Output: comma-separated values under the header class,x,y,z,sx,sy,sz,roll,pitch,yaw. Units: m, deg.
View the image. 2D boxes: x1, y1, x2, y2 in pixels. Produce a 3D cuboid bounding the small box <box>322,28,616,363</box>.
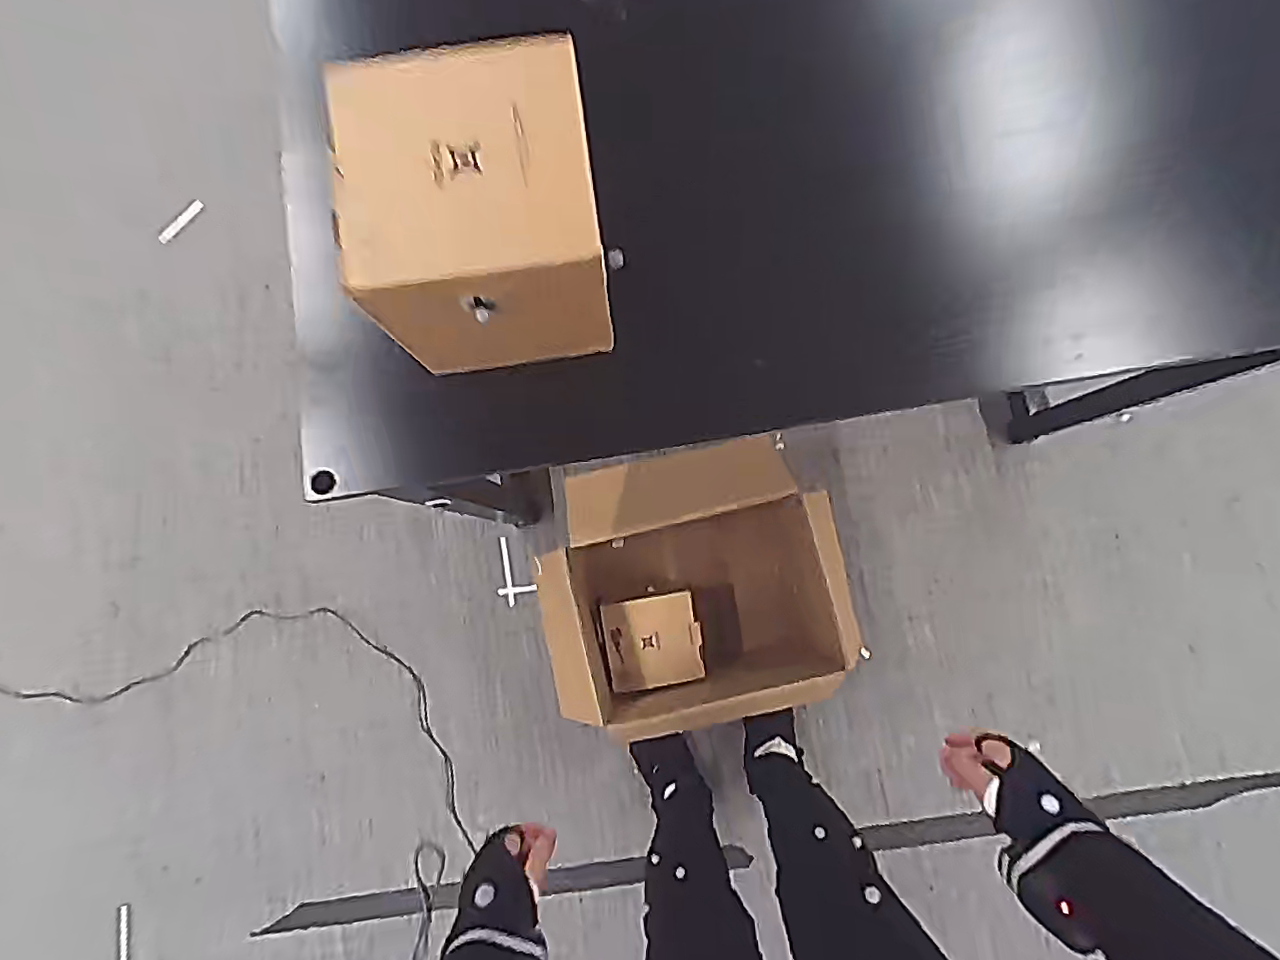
class,x,y,z,sx,sy,sz,roll,pitch,yaw
small box,-0.119,-0.205,0.435,0.179,0.176,0.168,-8,83,-1
